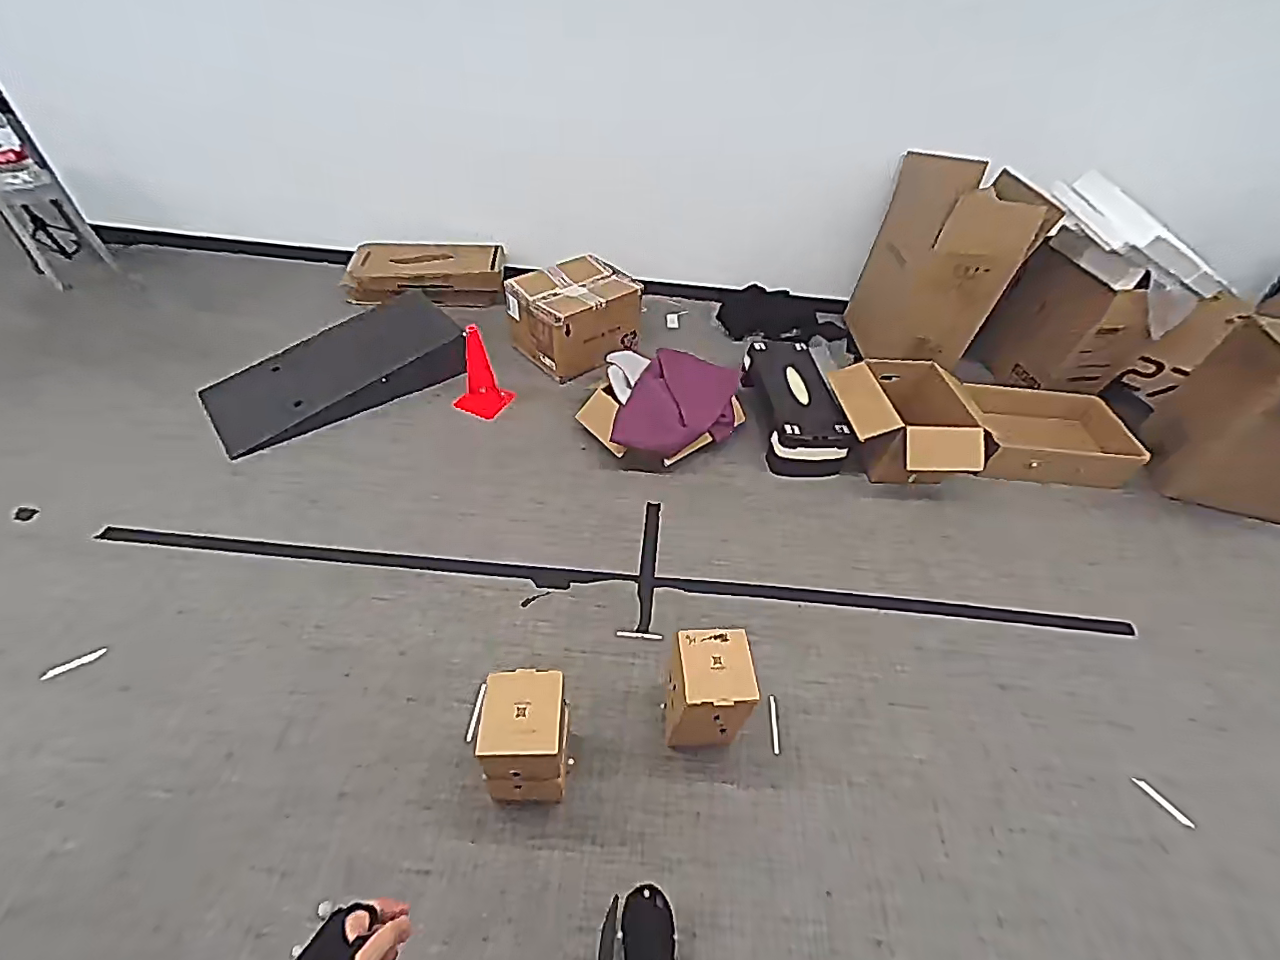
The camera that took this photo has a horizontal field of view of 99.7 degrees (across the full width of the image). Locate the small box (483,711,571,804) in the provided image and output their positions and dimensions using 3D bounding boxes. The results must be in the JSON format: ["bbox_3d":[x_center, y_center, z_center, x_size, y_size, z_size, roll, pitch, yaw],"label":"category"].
[{"bbox_3d":[-0.262,0.663,1.295,0.179,0.176,0.168,4,46,-3],"label":"small box"}]

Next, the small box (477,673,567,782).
[{"bbox_3d":[-0.250,0.543,1.185,0.168,0.176,0.179,0,48,-4],"label":"small box"}]

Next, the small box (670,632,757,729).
[{"bbox_3d":[0.168,0.482,1.287,0.168,0.176,0.179,1,47,-6],"label":"small box"}]

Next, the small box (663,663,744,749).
[{"bbox_3d":[0.158,0.588,1.411,0.179,0.176,0.168,1,46,-5],"label":"small box"}]
